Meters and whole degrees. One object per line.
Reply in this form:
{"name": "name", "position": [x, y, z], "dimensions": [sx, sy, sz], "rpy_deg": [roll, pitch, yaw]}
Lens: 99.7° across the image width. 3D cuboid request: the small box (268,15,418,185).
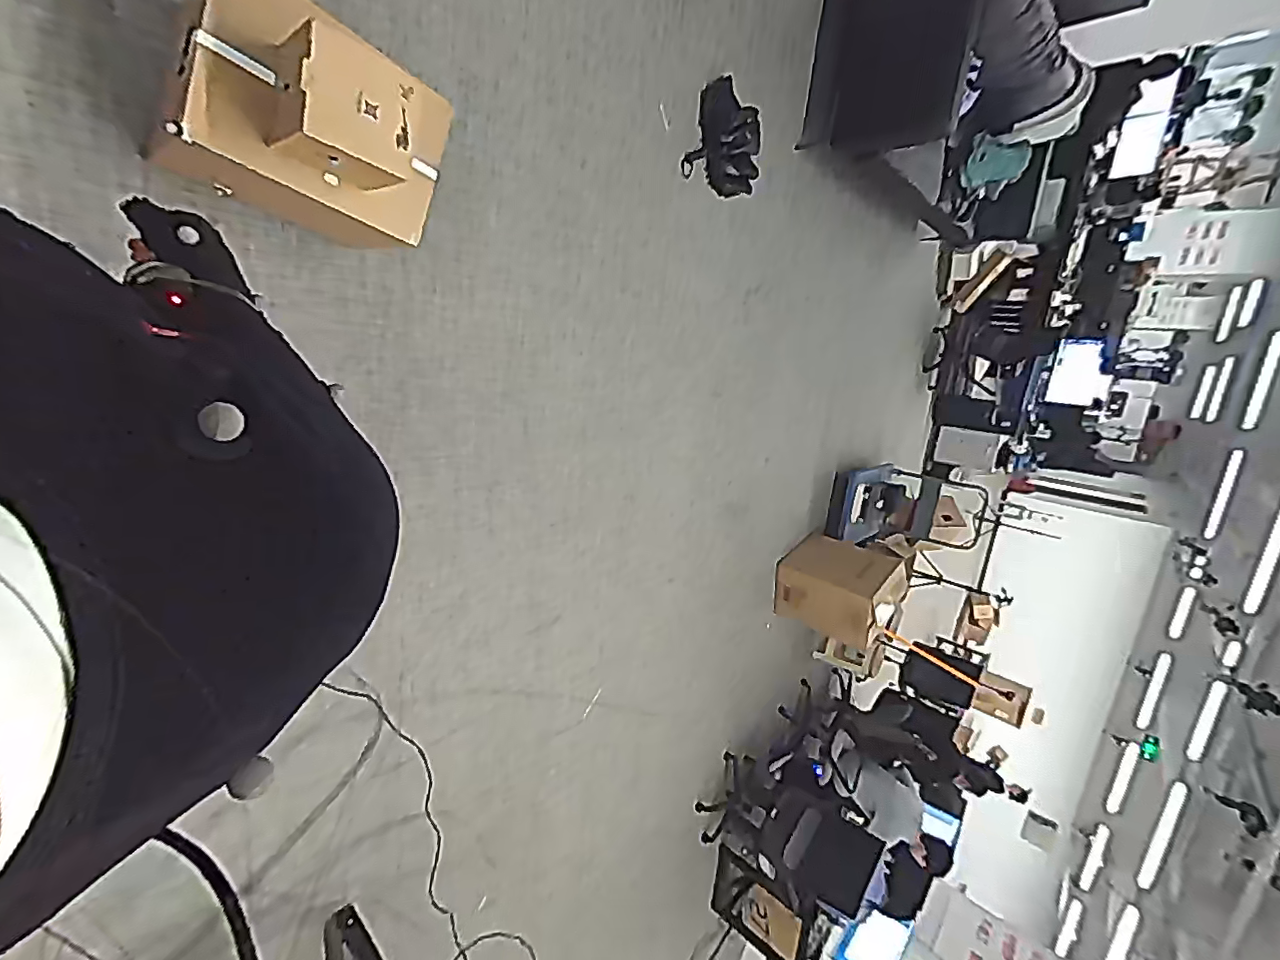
{"name": "small box", "position": [-0.510, -0.627, 0.923], "dimensions": [0.179, 0.176, 0.168], "rpy_deg": [2, 103, -49]}
